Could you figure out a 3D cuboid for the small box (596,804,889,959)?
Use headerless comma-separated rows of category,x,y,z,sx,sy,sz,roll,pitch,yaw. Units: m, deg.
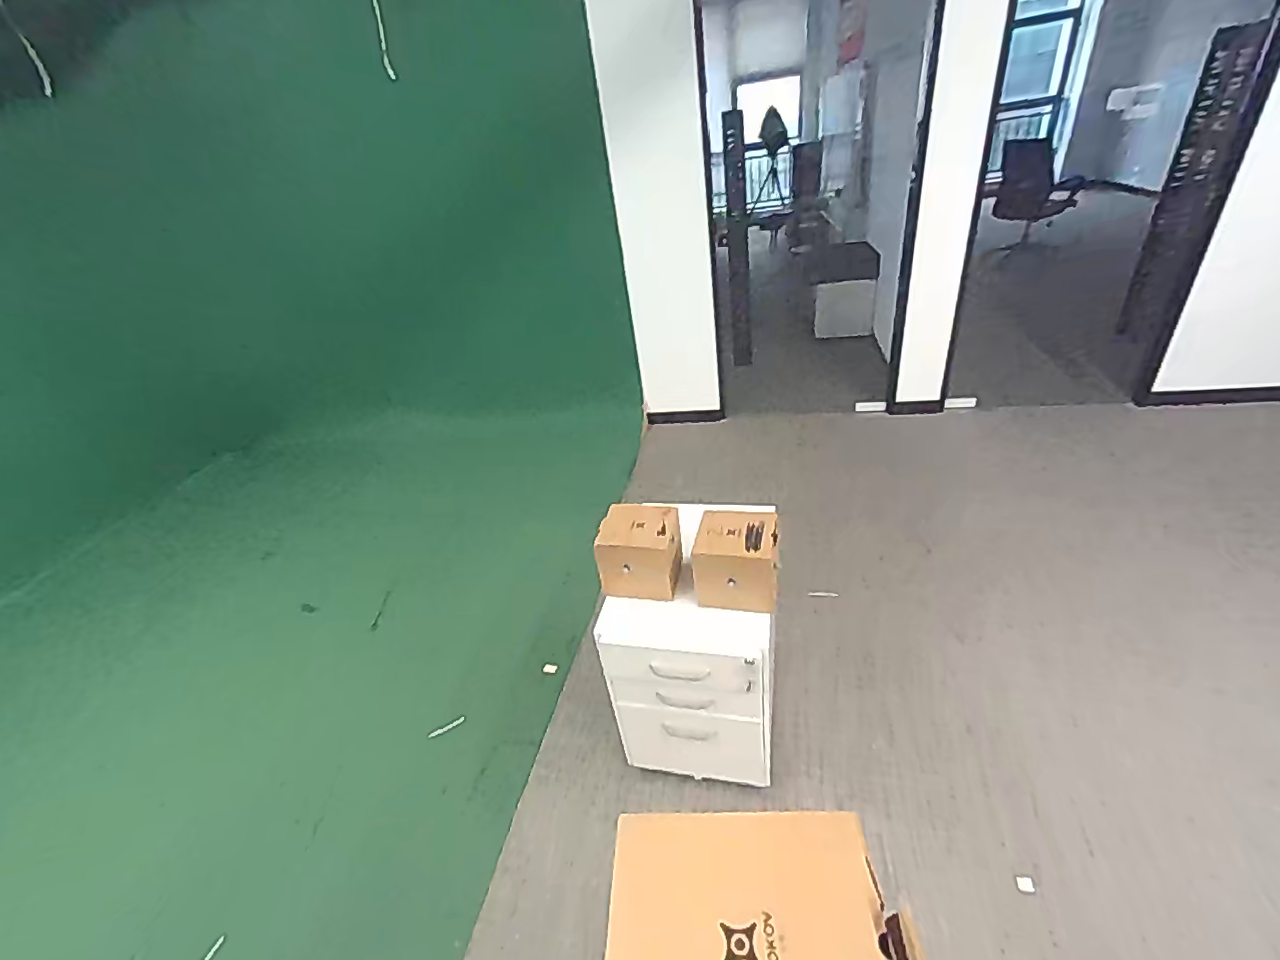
small box,0.068,0.352,0.365,0.179,0.176,0.168,-3,24,5

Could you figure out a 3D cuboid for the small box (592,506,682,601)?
small box,0.000,0.180,1.329,0.179,0.176,0.168,1,34,15
